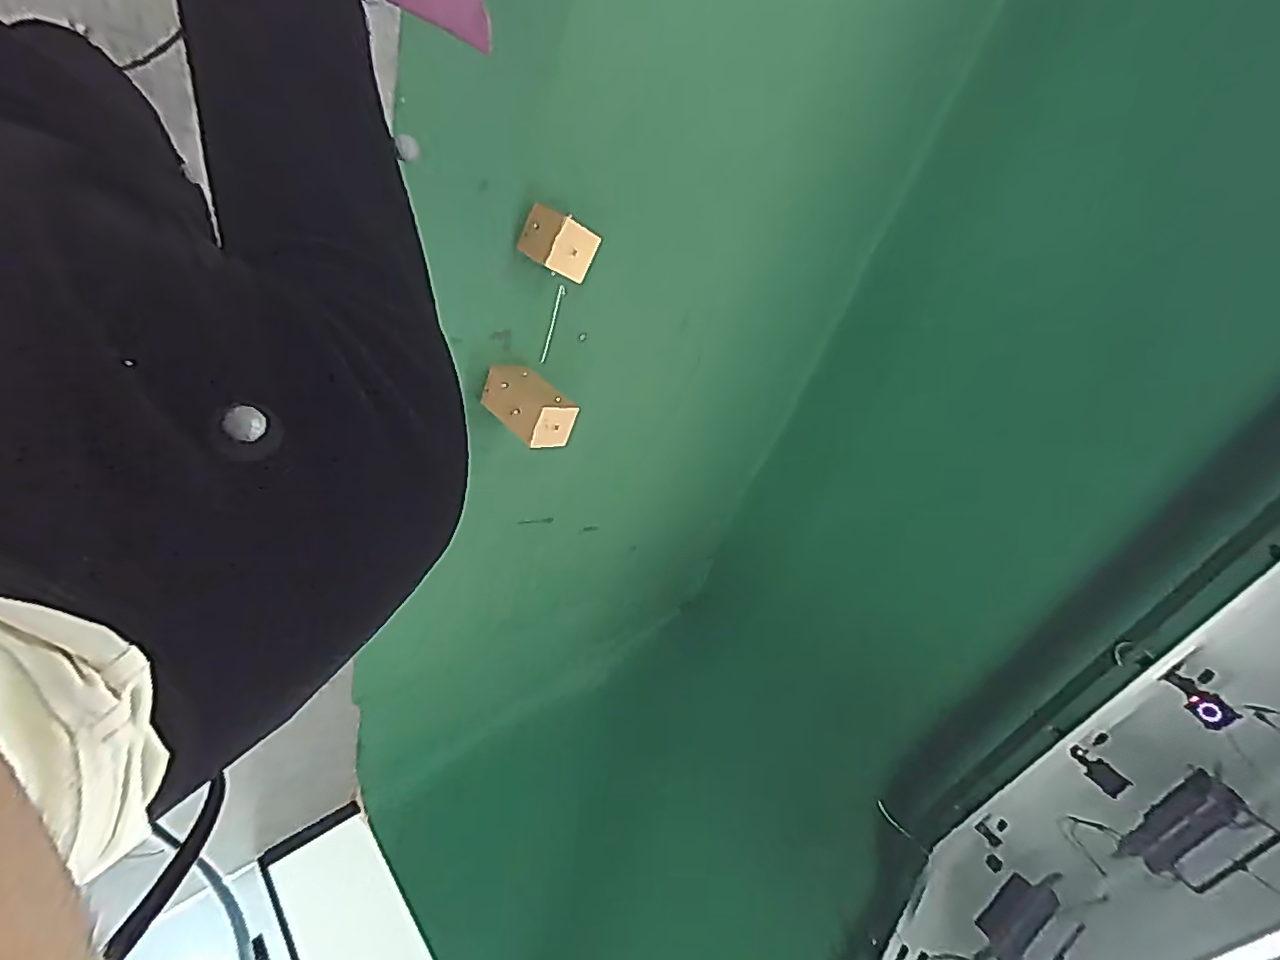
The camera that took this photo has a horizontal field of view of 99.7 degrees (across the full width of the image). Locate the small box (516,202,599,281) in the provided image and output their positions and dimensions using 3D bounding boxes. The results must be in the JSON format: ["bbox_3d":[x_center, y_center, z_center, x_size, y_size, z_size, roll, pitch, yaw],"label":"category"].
[{"bbox_3d":[-0.277,-0.800,1.808,0.179,0.176,0.168,5,120,-54],"label":"small box"}]

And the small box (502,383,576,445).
[{"bbox_3d":[-0.370,-0.244,1.976,0.179,0.176,0.168,-7,130,-50],"label":"small box"}]
